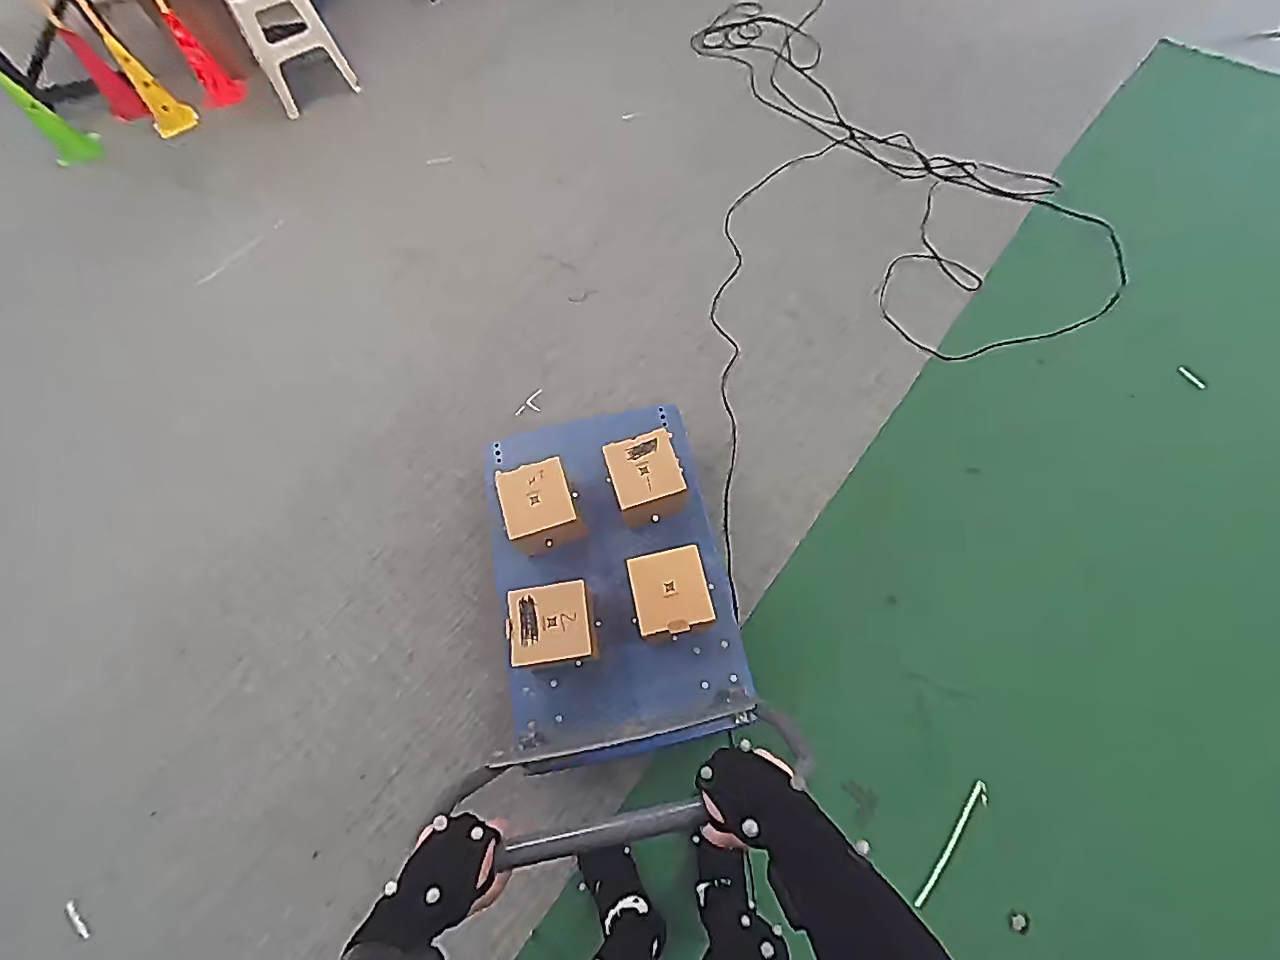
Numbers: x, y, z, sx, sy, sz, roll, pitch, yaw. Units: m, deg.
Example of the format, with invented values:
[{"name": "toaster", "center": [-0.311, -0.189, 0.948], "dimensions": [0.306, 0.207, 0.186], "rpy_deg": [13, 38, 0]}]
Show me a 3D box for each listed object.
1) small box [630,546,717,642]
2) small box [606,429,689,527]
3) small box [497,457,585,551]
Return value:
[{"name": "small box", "center": [0.074, 0.271, 1.266], "dimensions": [0.168, 0.176, 0.179], "rpy_deg": [-12, 69, -1]}, {"name": "small box", "center": [0.019, 0.000, 1.374], "dimensions": [0.168, 0.176, 0.179], "rpy_deg": [-17, 69, -3]}, {"name": "small box", "center": [-0.243, 0.069, 1.363], "dimensions": [0.168, 0.176, 0.179], "rpy_deg": [-17, 68, -4]}]
